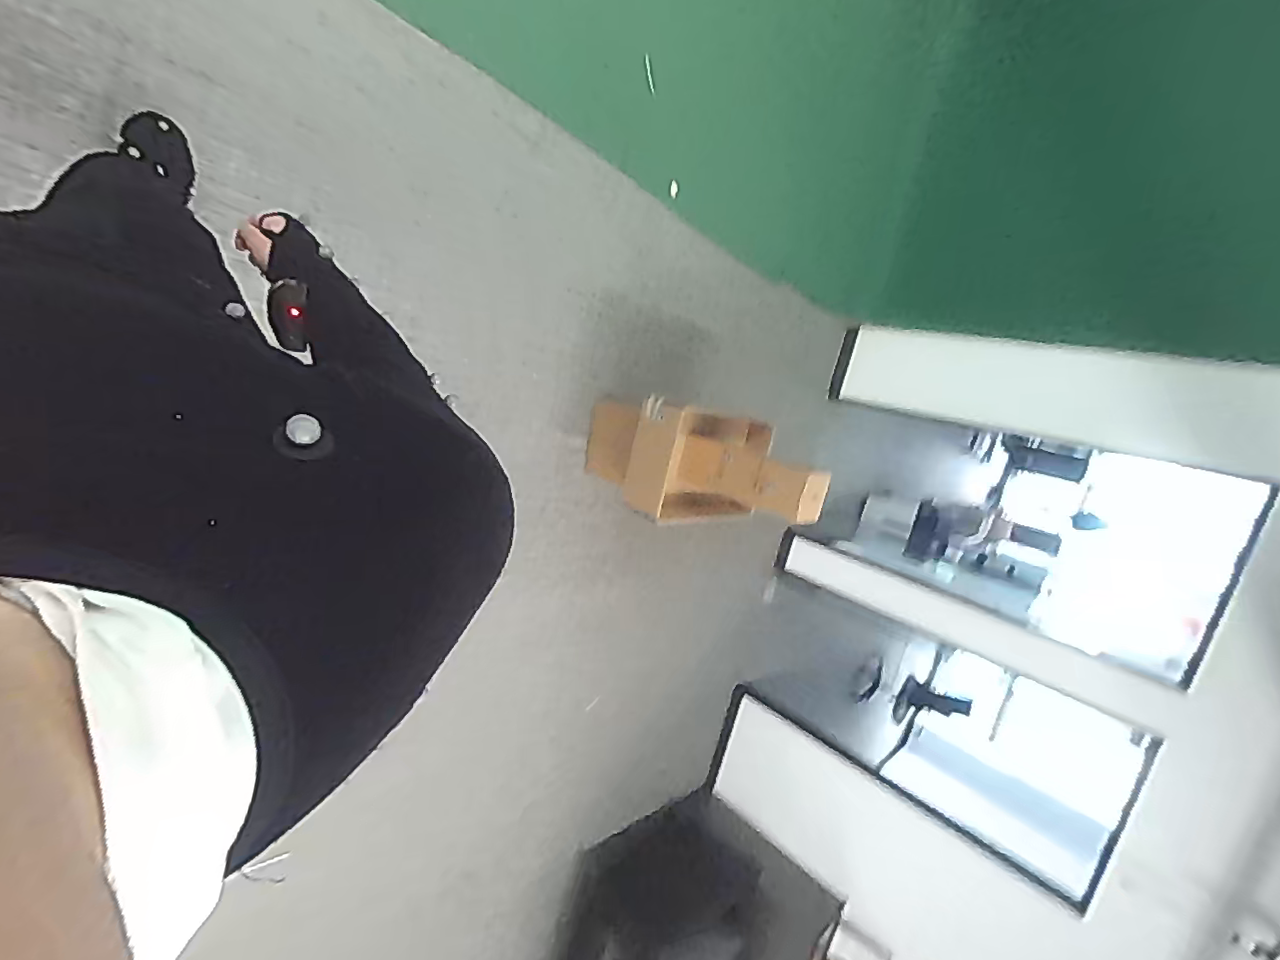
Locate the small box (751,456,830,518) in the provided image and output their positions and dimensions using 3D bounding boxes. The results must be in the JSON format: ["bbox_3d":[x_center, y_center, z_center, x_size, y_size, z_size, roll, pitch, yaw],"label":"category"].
[{"bbox_3d":[0.497,0.020,1.792,0.179,0.176,0.168,1,105,-48],"label":"small box"}]

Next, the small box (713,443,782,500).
[{"bbox_3d":[0.380,-0.027,1.899,0.179,0.176,0.168,3,104,-50],"label":"small box"}]

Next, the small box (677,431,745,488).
[{"bbox_3d":[0.260,-0.076,1.999,0.168,0.176,0.179,0,107,-49],"label":"small box"}]
